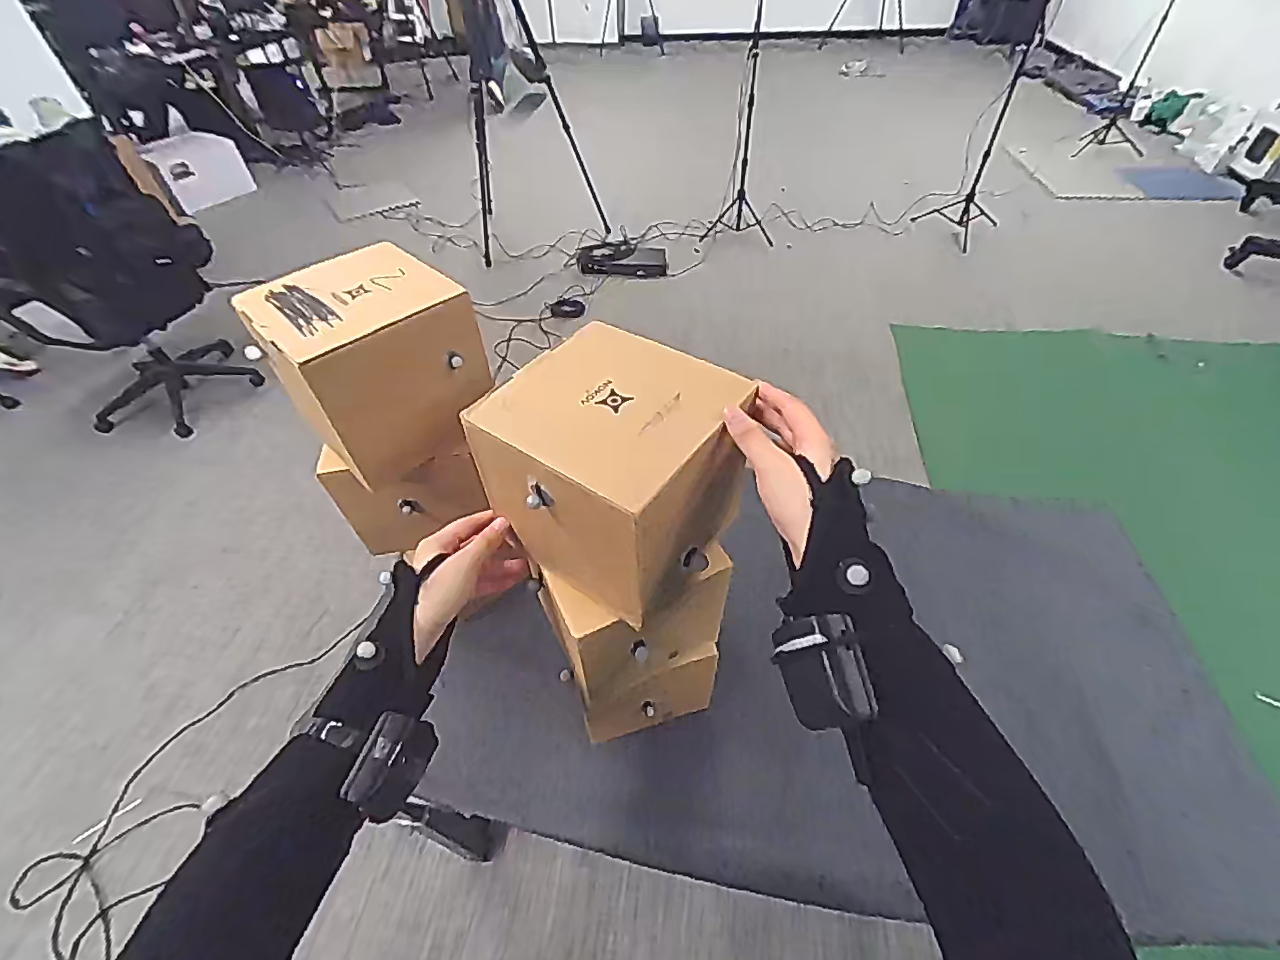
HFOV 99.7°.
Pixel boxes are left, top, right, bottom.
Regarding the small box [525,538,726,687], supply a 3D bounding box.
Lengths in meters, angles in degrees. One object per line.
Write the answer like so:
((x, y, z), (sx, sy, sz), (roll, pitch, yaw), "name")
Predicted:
((-0.021, 0.104, 0.600), (0.168, 0.176, 0.179), (-24, 50, -16), "small box")

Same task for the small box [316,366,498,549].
((-0.291, -0.028, 0.727), (0.179, 0.176, 0.168), (-9, 49, -5), "small box")

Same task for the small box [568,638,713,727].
((-0.012, 0.208, 0.723), (0.168, 0.176, 0.179), (-13, 48, -10), "small box")

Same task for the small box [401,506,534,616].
((-0.285, 0.079, 0.853), (0.168, 0.176, 0.179), (-34, 55, -25), "small box")

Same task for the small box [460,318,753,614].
((-0.023, -0.012, 0.484), (0.179, 0.176, 0.168), (28, 56, 24), "small box")
